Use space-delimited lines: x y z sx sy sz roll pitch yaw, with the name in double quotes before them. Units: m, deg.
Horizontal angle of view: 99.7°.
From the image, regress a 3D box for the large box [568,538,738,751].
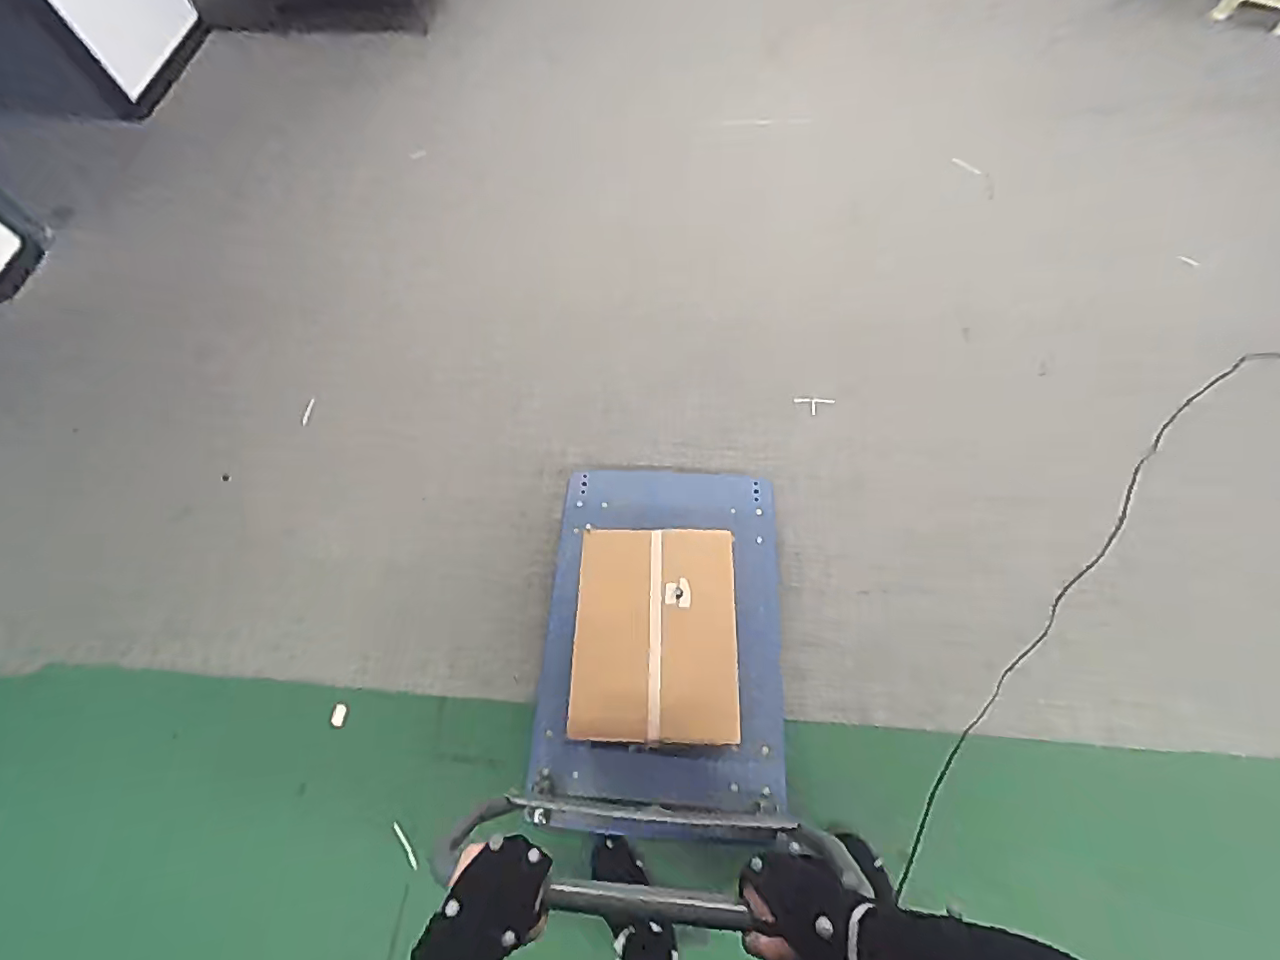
"large box" 0.036 0.370 1.189 0.320 0.320 0.408 0 63 3
